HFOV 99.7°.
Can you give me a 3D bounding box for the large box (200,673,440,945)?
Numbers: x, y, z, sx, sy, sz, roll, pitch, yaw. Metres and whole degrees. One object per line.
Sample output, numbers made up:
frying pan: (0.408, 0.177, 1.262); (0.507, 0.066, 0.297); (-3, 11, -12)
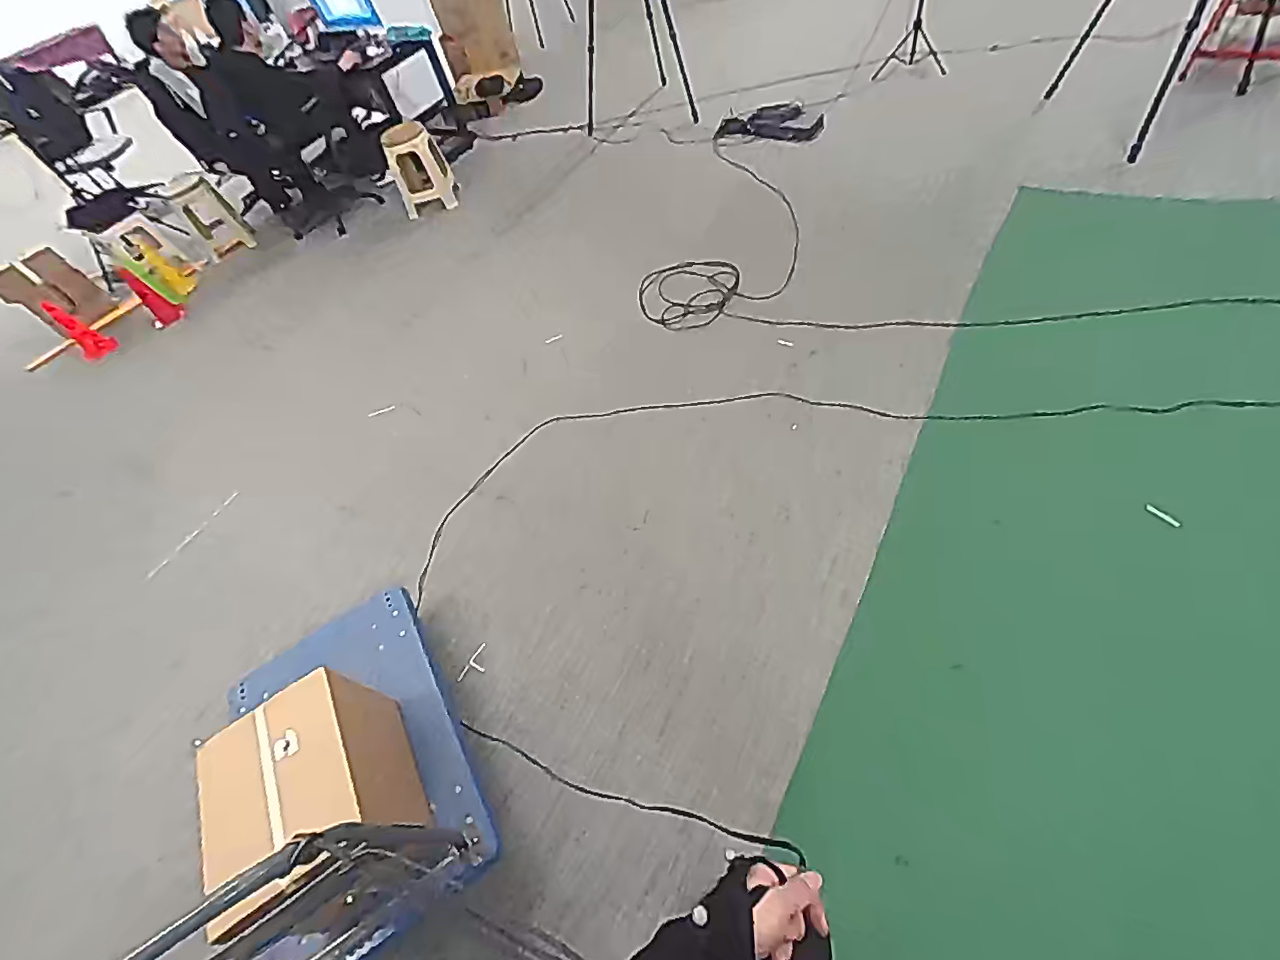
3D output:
large box: (-0.726, 0.738, 1.241); (0.320, 0.320, 0.408); (-33, 52, -12)
